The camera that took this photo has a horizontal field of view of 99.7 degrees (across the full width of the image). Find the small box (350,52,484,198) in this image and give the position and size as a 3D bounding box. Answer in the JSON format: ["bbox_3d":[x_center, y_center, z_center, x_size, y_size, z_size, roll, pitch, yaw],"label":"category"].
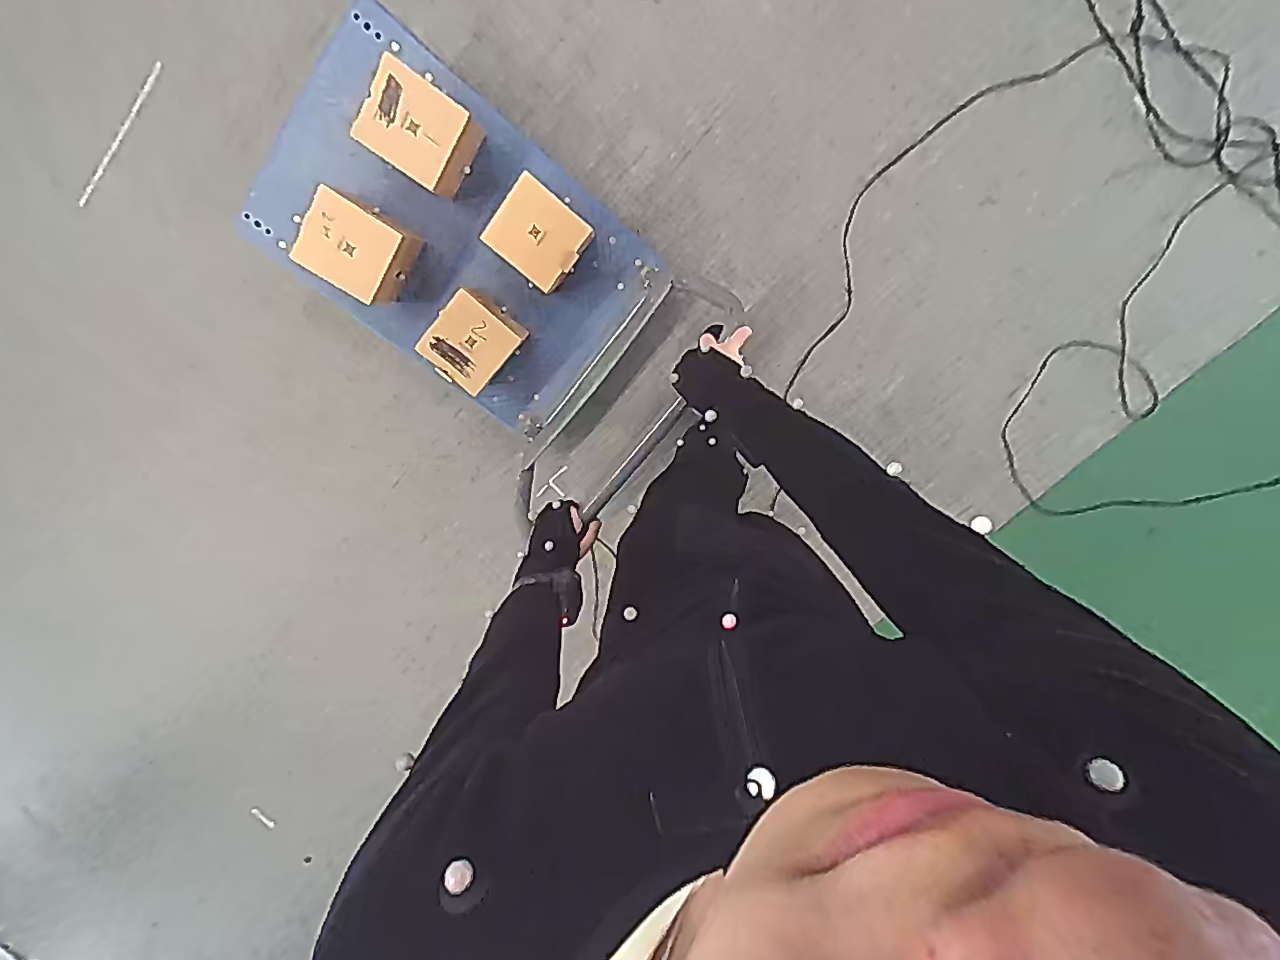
[{"bbox_3d":[-0.445,-0.706,1.105,0.179,0.176,0.168,31,105,-16],"label":"small box"}]

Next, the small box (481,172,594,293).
[{"bbox_3d":[-0.220,-0.535,1.194,0.179,0.176,0.168,36,103,-17],"label":"small box"}]

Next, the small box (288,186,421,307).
[{"bbox_3d":[-0.604,-0.498,1.168,0.179,0.176,0.168,31,104,-16],"label":"small box"}]
